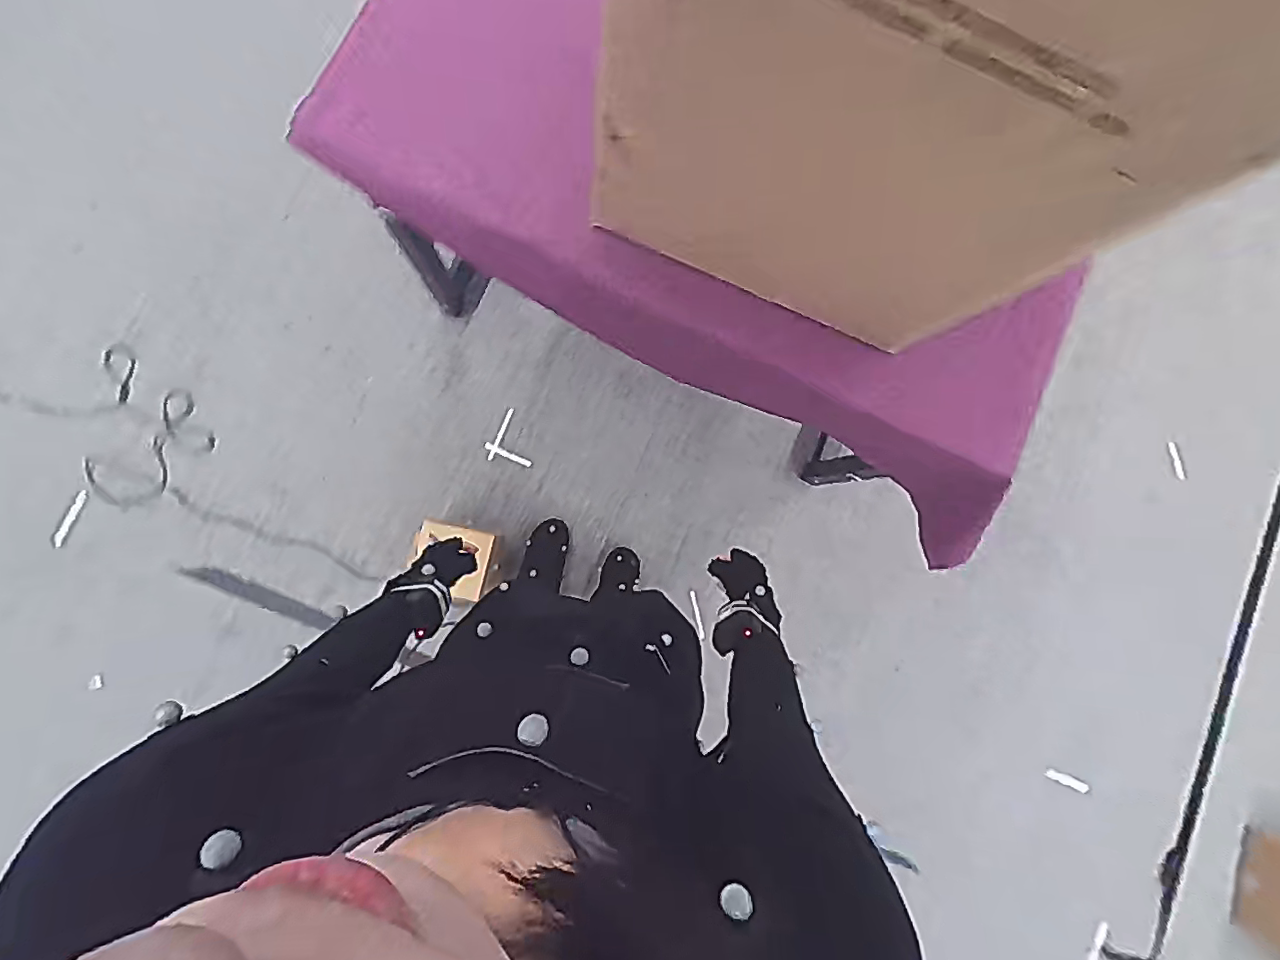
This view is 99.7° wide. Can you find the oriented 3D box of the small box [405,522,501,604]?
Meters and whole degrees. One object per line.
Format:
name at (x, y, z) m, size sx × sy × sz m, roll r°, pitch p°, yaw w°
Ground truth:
small box at (-0.469, 0.206, 1.381) m, size 0.179 × 0.176 × 0.168 m, roll 14°, pitch 85°, yaw -7°
